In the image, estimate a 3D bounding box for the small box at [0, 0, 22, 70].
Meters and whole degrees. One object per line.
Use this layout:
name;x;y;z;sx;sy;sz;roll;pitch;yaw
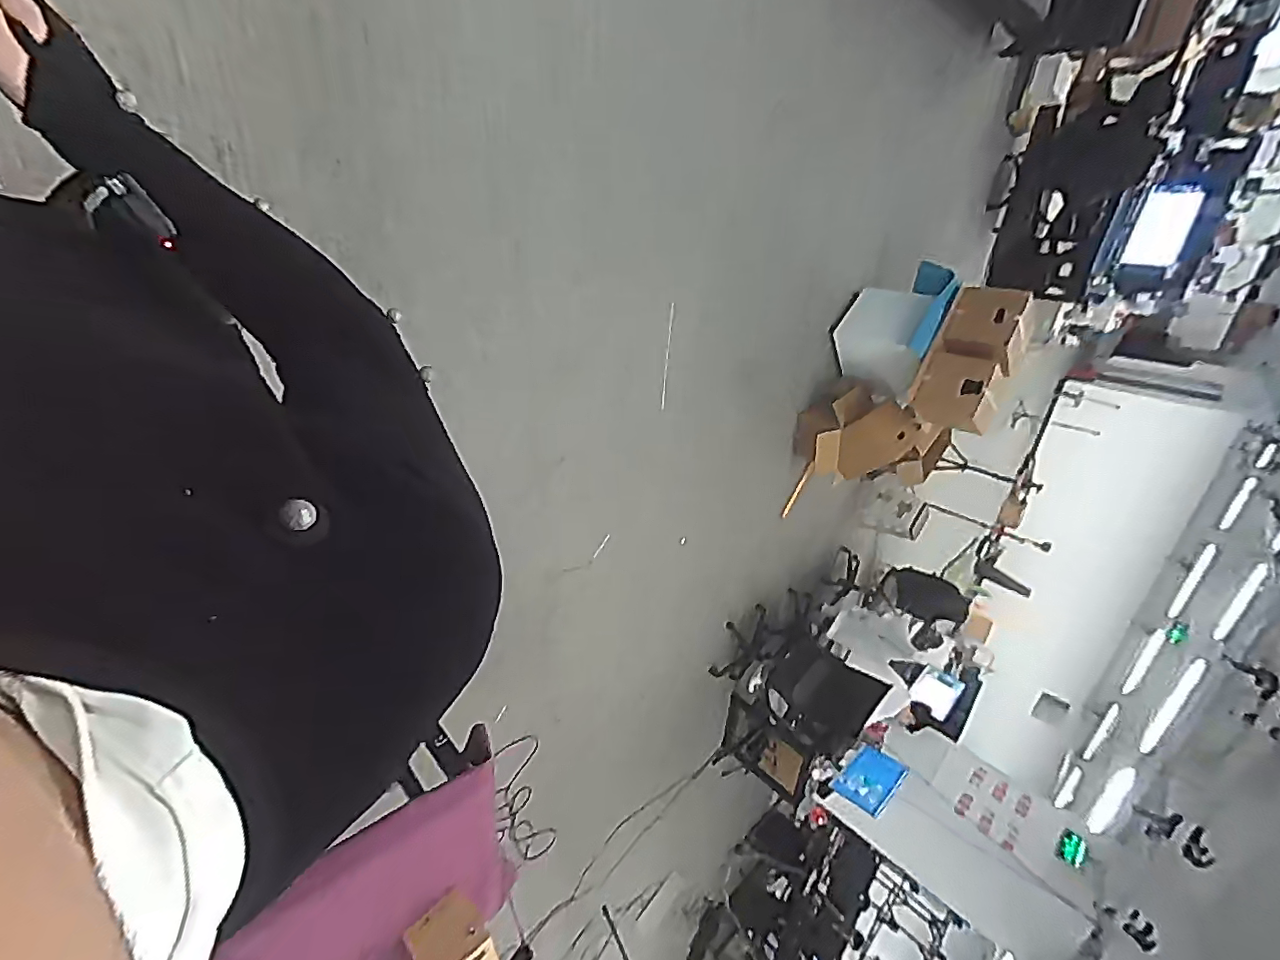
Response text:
small box;-0.580;-0.433;0.380;0.168;0.176;0.179;-11;115;-42
